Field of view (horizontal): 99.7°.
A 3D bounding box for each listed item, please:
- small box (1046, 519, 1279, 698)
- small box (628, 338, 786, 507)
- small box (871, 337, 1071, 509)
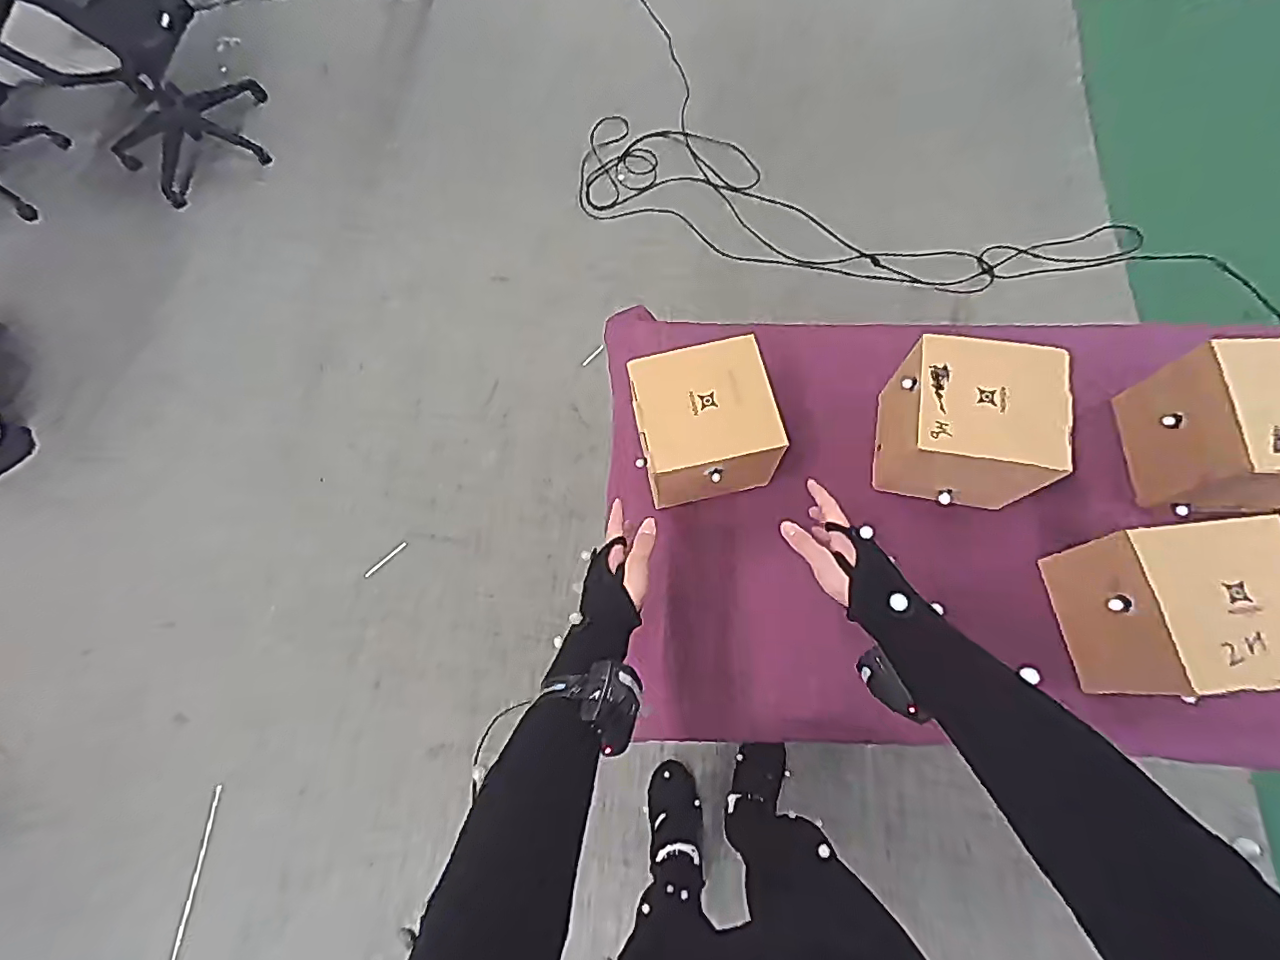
[{"bbox_3d":[0.632,0.158,0.639,0.168,0.176,0.179,-6,69,3],"label":"small box"},{"bbox_3d":[0.089,-0.071,0.766,0.179,0.176,0.168,-12,71,0],"label":"small box"},{"bbox_3d":[0.439,-0.068,0.736,0.179,0.176,0.168,10,72,8],"label":"small box"}]
